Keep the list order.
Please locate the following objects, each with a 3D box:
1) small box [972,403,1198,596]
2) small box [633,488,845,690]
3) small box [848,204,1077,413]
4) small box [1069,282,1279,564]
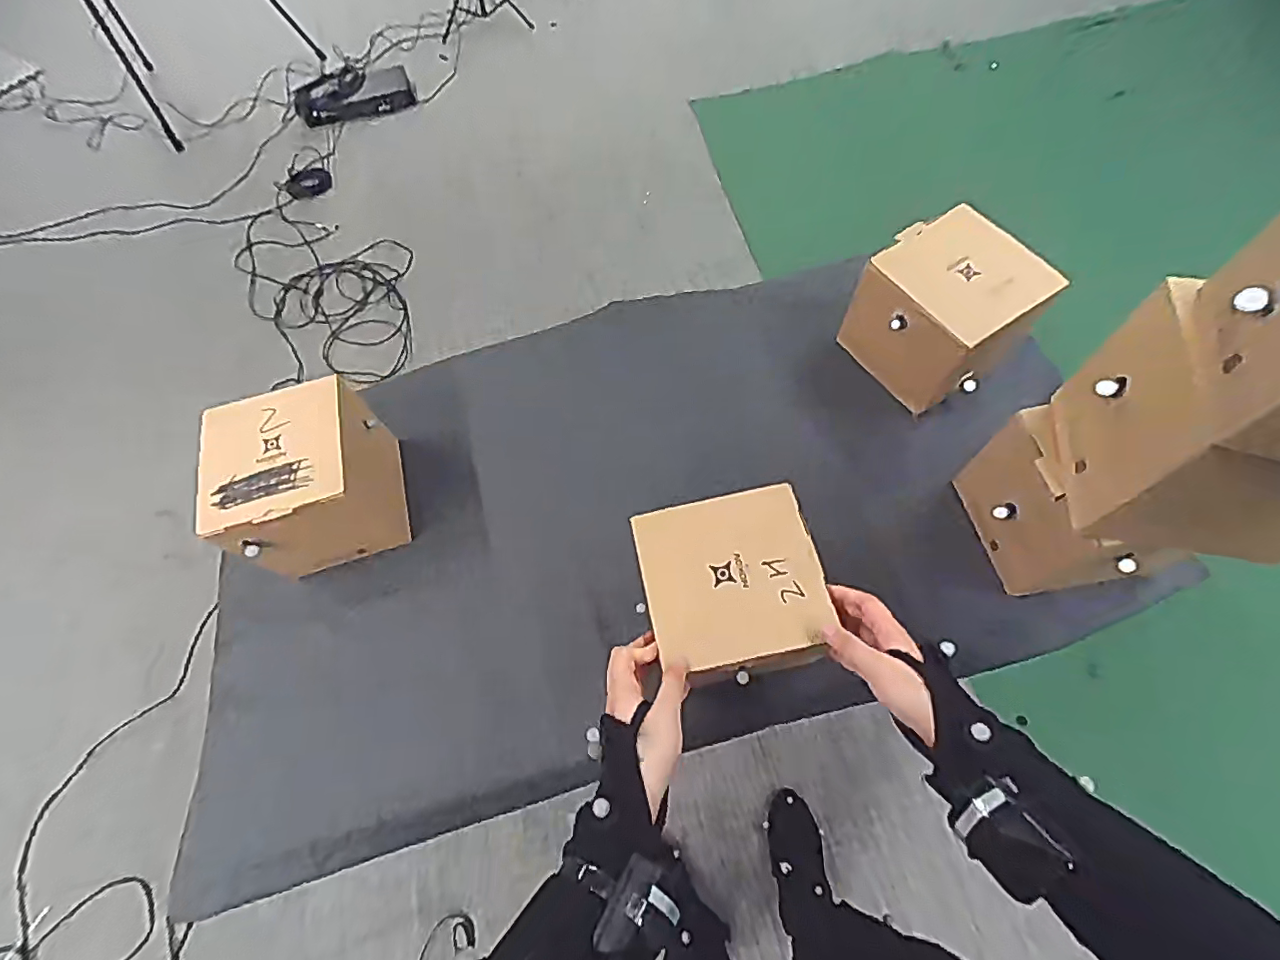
[{"bbox_3d":[0.515,0.022,0.613,0.179,0.176,0.168,-10,62,1],"label":"small box"},{"bbox_3d":[0.098,0.130,0.600,0.179,0.176,0.168,-12,65,0],"label":"small box"},{"bbox_3d":[0.418,-0.226,0.740,0.168,0.176,0.179,-32,68,-7],"label":"small box"},{"bbox_3d":[0.508,-0.040,0.462,0.179,0.176,0.168,9,63,9],"label":"small box"}]
